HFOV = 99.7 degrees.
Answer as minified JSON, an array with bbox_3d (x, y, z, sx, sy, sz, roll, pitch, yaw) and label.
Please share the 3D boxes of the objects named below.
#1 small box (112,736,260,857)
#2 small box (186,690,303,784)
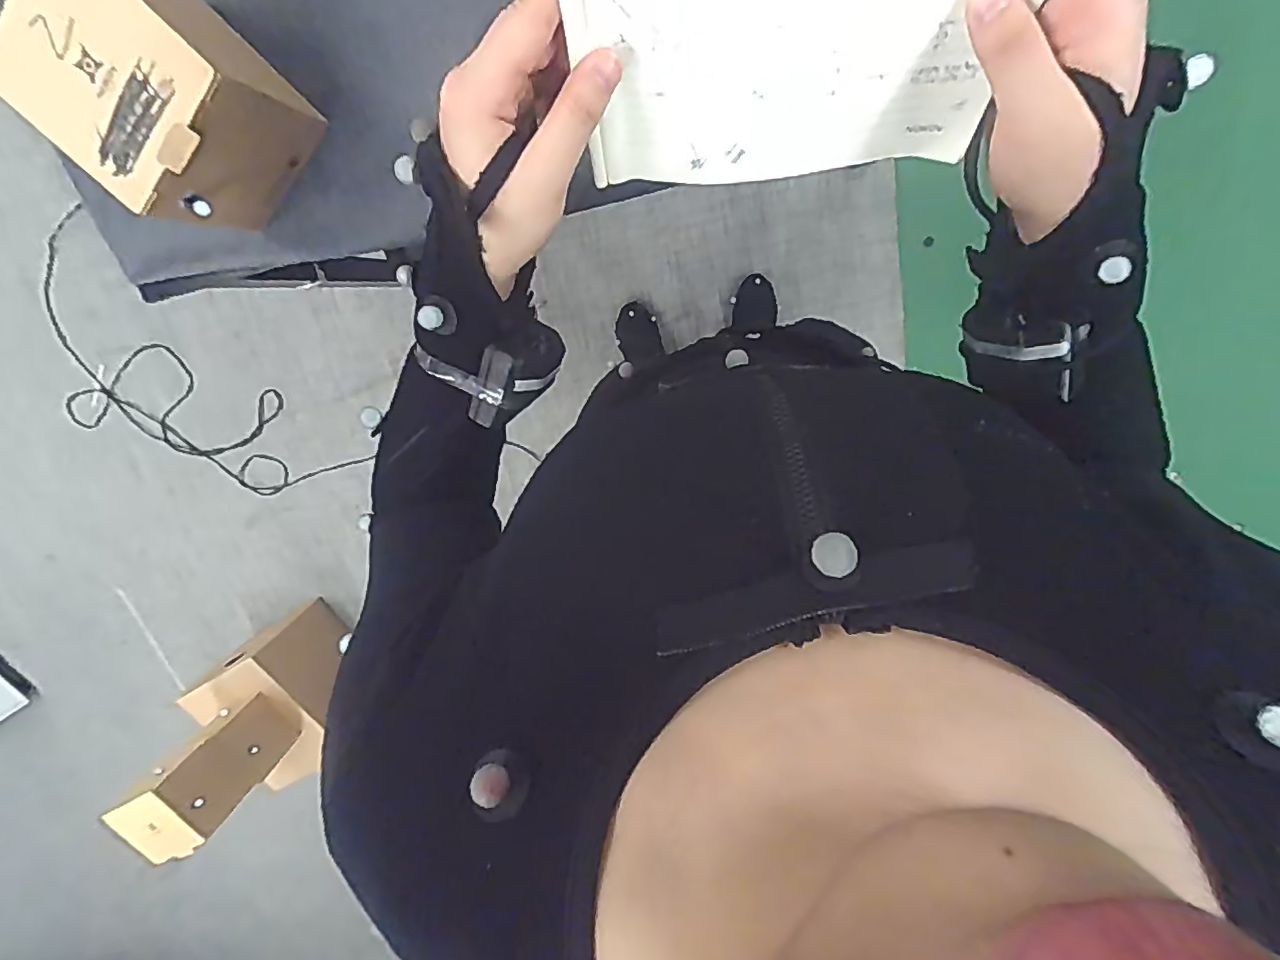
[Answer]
[{"bbox_3d":[-1.087,0.752,1.309,0.168,0.176,0.179,-28,106,12],"label":"small box"},{"bbox_3d":[-1.071,0.709,1.465,0.168,0.176,0.179,-29,105,12],"label":"small box"}]
